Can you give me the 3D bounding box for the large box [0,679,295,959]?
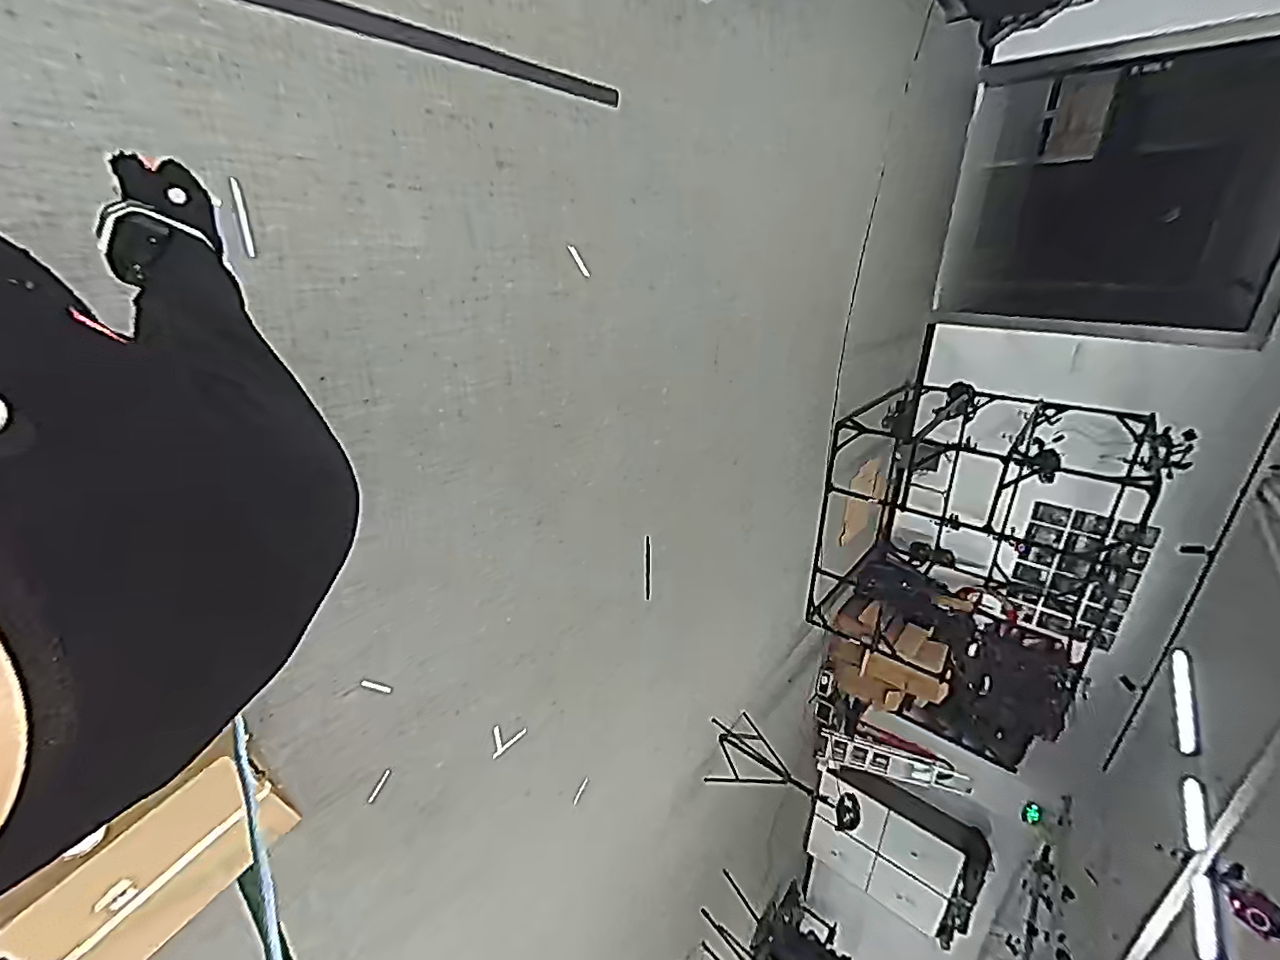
[{"bbox_3d":[-1.100,0.744,1.211,0.408,0.320,0.320,-41,135,-34],"label":"large box"}]
